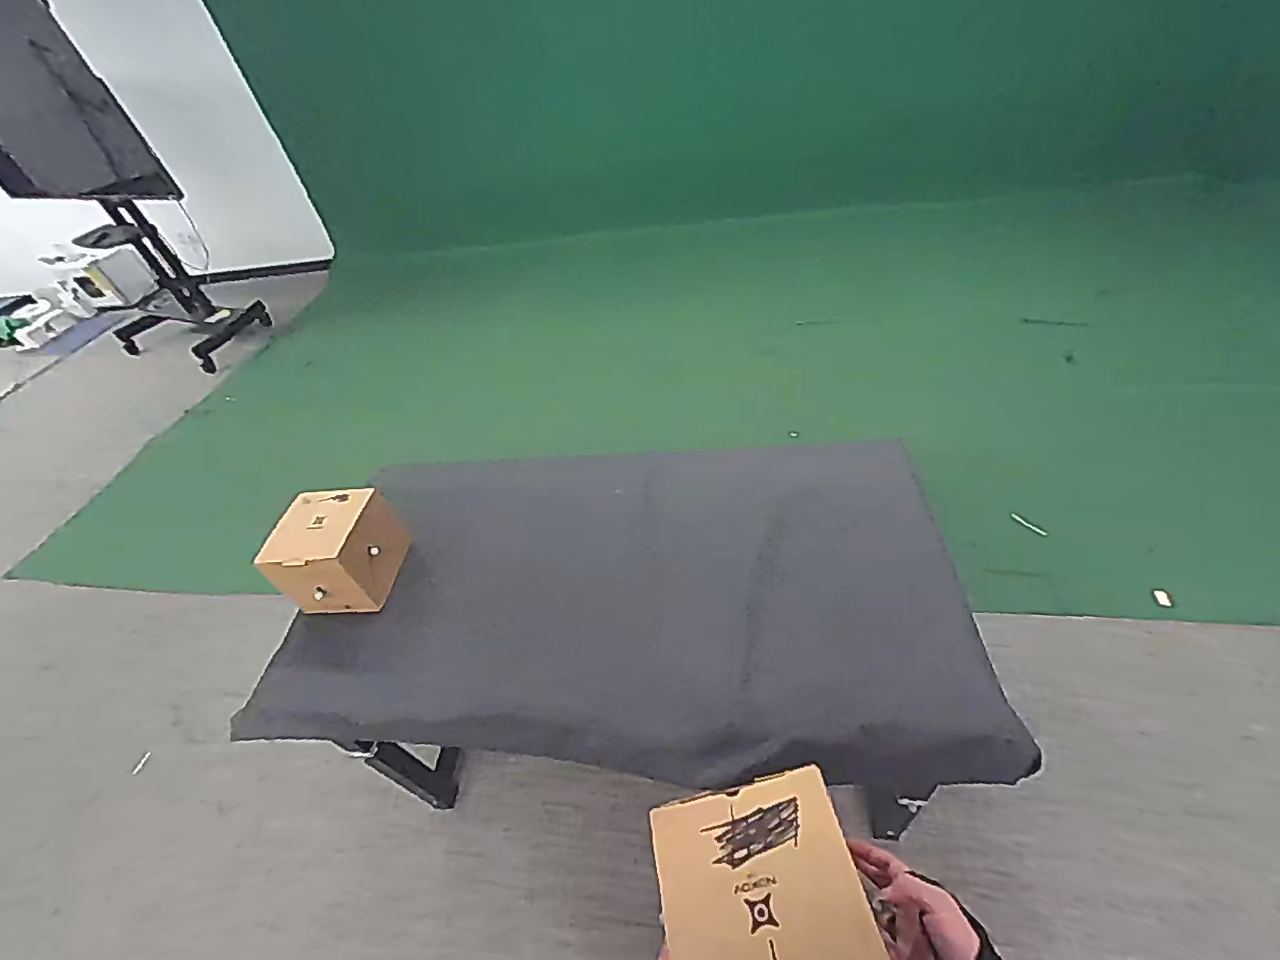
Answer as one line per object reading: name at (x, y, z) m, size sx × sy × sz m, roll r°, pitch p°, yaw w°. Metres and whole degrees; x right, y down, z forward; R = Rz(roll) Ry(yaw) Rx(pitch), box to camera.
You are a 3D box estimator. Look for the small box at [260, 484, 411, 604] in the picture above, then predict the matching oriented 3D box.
small box at (-0.580, 0.131, 1.061) m, size 0.168 × 0.176 × 0.179 m, roll -3°, pitch 46°, yaw 7°
